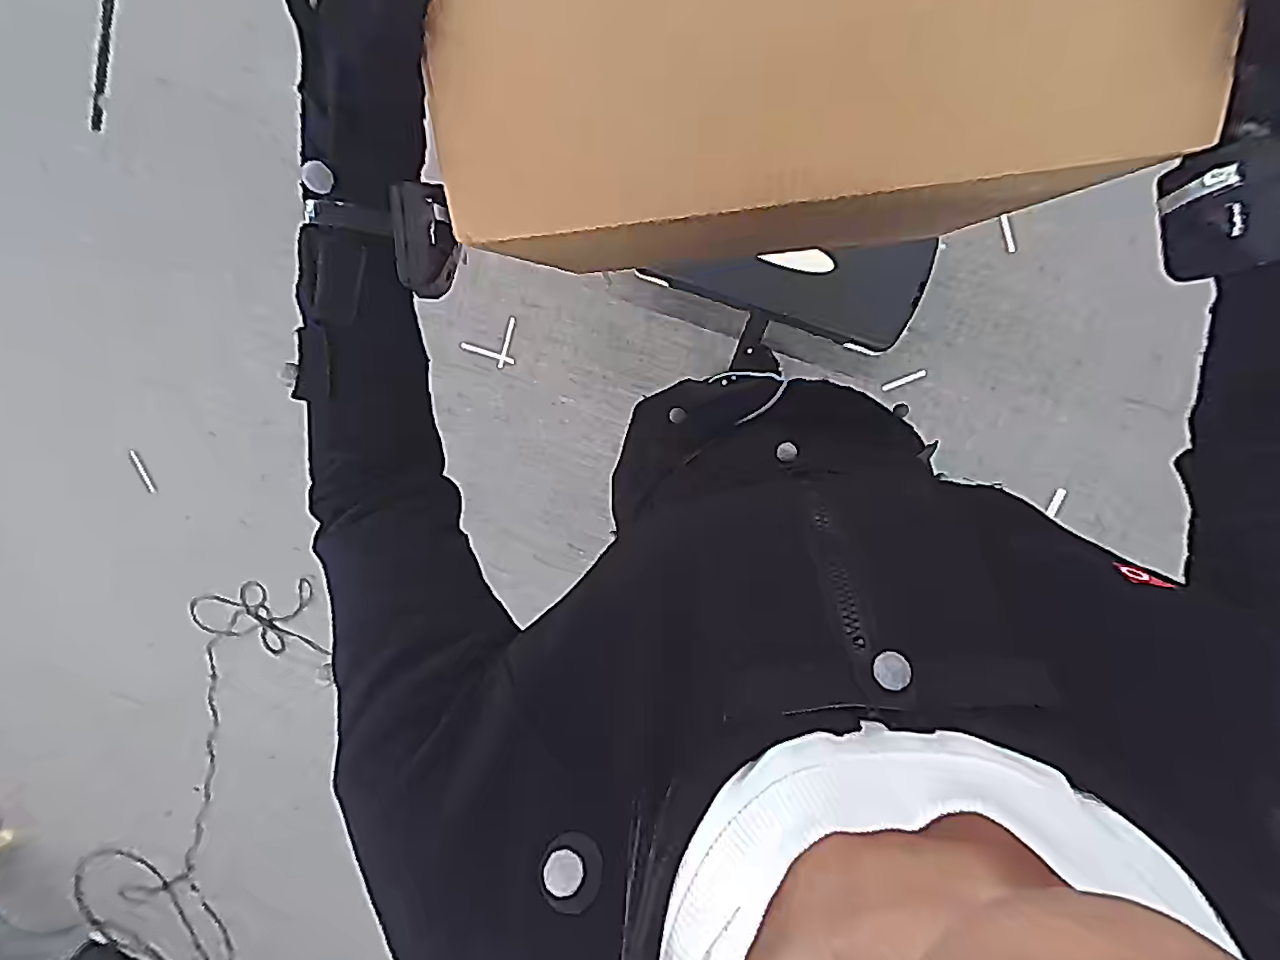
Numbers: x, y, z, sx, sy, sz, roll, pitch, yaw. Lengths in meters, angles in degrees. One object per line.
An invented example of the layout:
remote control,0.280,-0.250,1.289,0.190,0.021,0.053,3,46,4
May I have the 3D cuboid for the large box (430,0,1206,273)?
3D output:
large box,0.088,-0.356,0.410,0.408,0.320,0.320,-5,107,7
